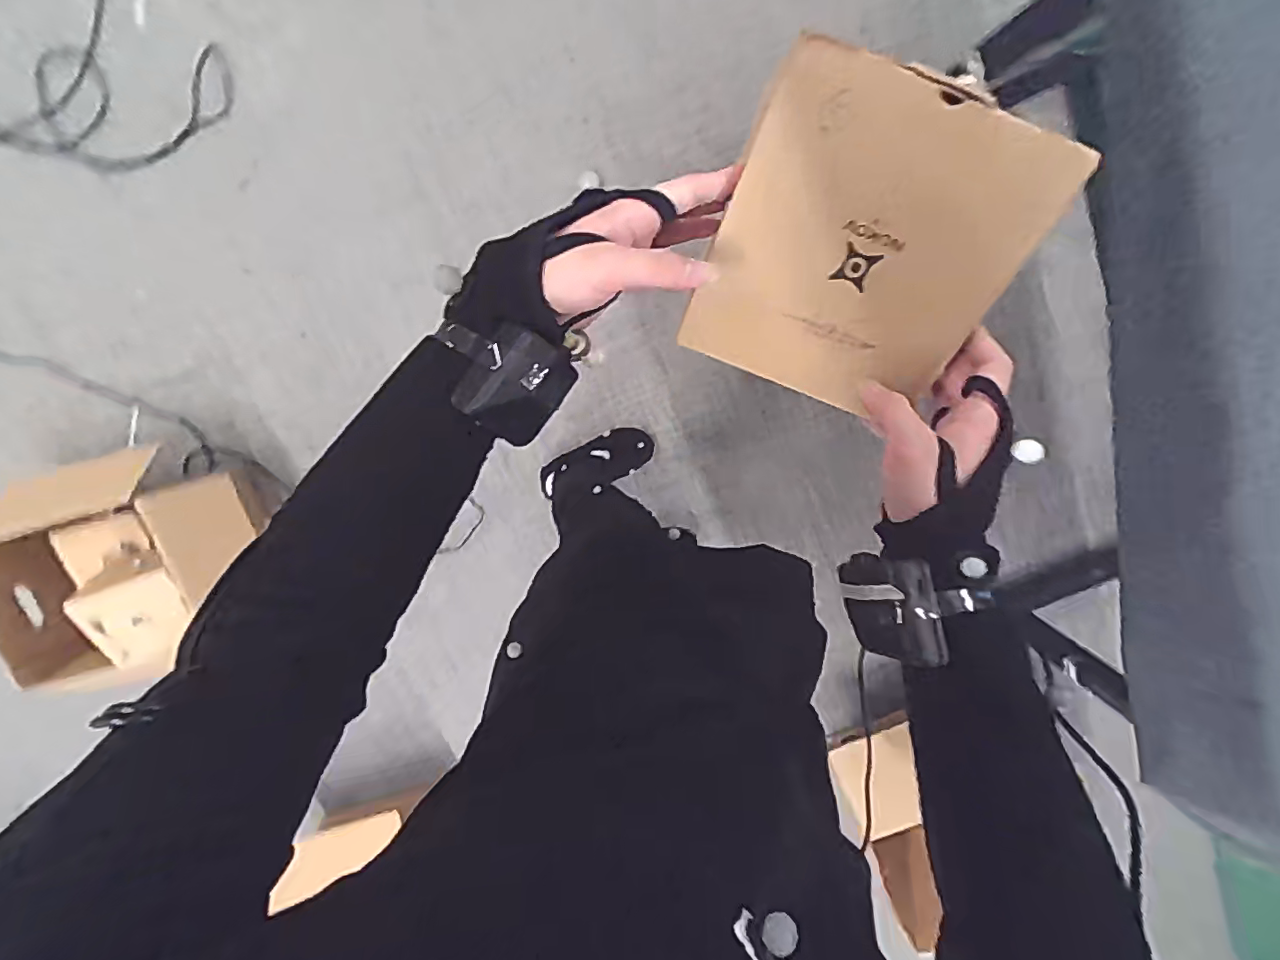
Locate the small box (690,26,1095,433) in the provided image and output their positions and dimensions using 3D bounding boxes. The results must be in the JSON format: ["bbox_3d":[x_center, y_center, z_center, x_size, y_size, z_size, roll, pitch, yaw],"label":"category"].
[{"bbox_3d":[0.144,-0.167,0.386,0.168,0.176,0.179,21,120,-4],"label":"small box"}]
